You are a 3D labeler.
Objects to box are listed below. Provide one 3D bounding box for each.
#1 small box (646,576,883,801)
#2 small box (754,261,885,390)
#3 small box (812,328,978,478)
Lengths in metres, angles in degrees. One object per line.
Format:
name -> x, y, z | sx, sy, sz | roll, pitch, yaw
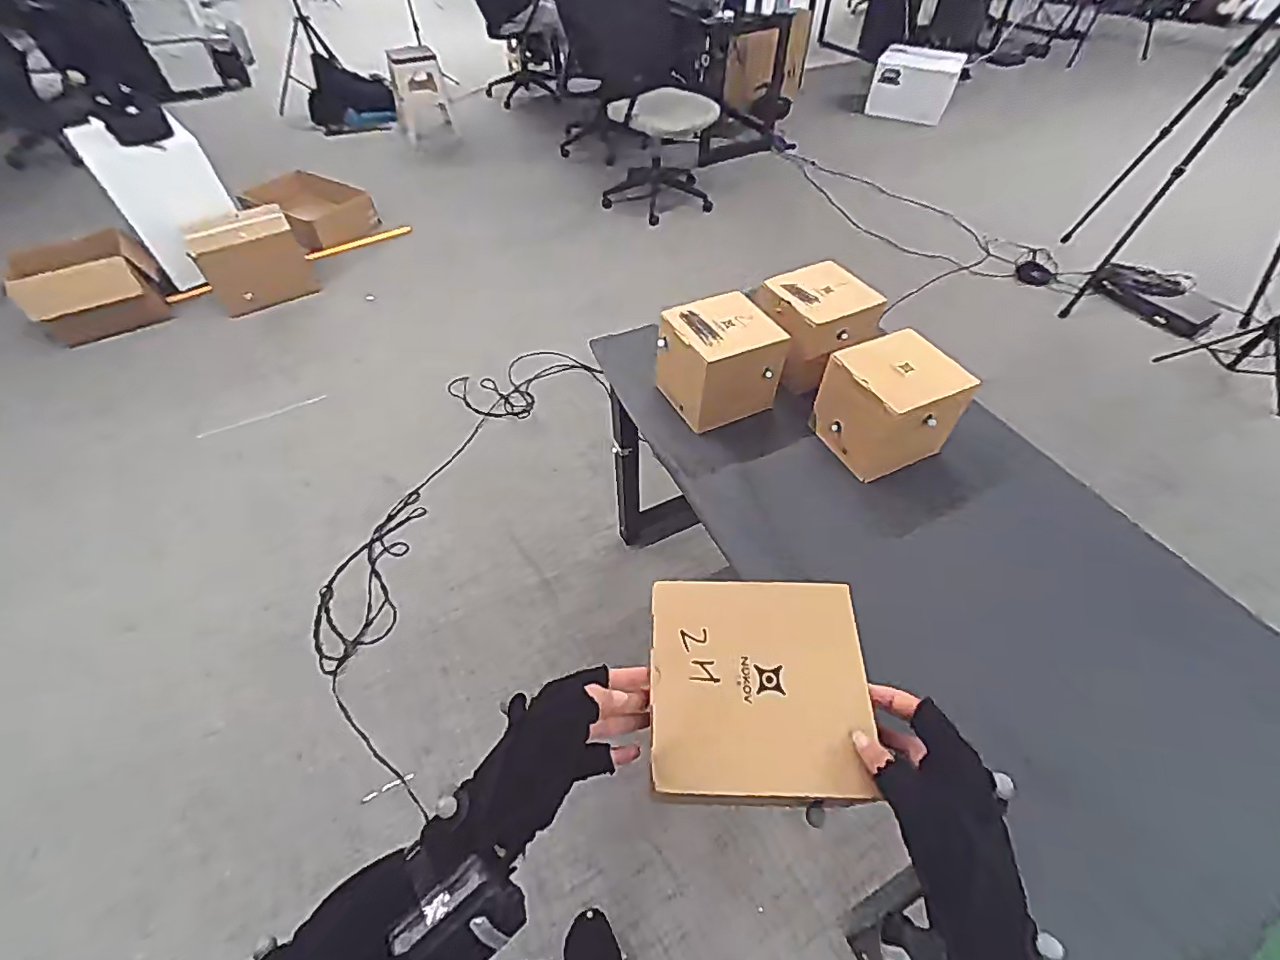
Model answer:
small box -> 0.095, 0.199, 0.506 | 0.179, 0.176, 0.168 | 0, 57, 1
small box -> 0.347, -0.308, 1.089 | 0.179, 0.176, 0.168 | -22, 55, -18
small box -> 0.432, -0.133, 0.949 | 0.179, 0.176, 0.168 | -21, 54, -15
